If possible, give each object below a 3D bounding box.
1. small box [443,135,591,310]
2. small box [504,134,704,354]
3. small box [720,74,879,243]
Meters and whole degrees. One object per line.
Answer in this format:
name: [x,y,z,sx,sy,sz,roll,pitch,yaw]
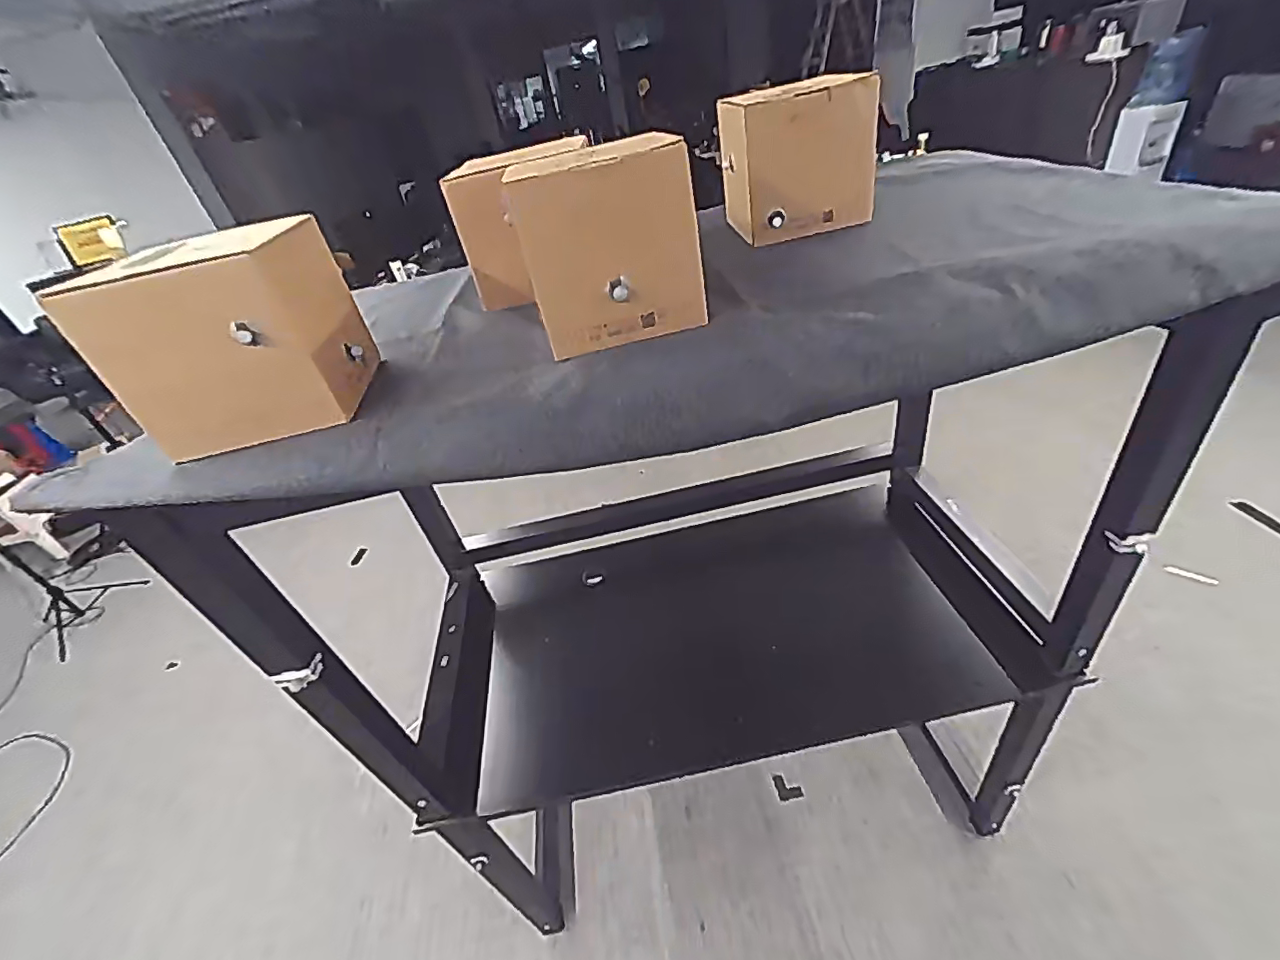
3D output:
small box: [-0.139,-0.355,0.748,0.179,0.176,0.168,-10,37,5]
small box: [-0.035,-0.254,0.579,0.168,0.176,0.179,-14,36,-1]
small box: [0.216,-0.447,0.758,0.168,0.176,0.179,-11,36,3]
